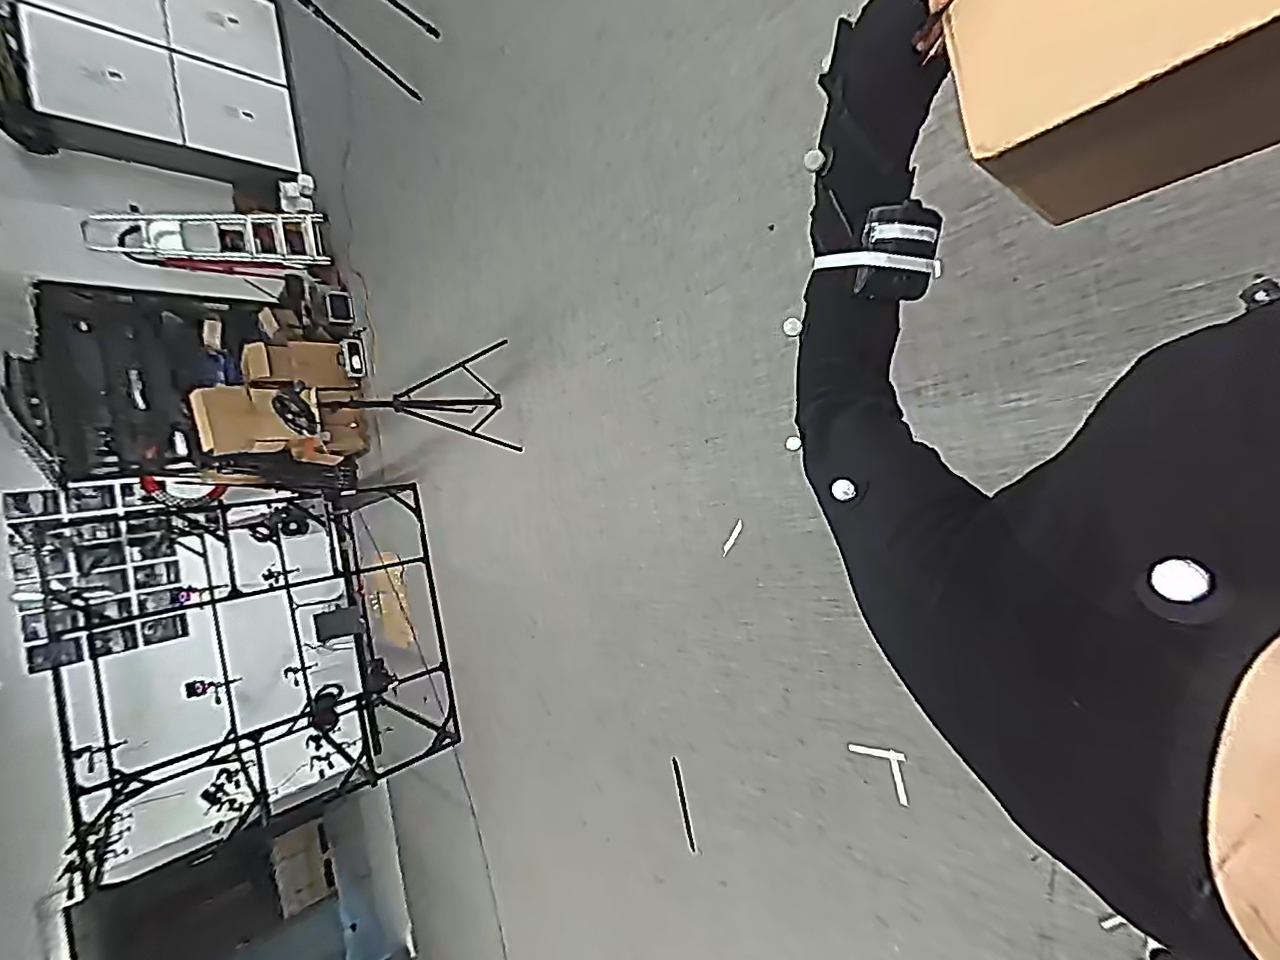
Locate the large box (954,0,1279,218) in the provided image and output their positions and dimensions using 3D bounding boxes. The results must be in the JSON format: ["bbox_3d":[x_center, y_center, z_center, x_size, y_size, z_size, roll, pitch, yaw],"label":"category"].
[{"bbox_3d":[0.447,-0.431,0.339,0.408,0.320,0.320,-11,92,46],"label":"large box"}]
